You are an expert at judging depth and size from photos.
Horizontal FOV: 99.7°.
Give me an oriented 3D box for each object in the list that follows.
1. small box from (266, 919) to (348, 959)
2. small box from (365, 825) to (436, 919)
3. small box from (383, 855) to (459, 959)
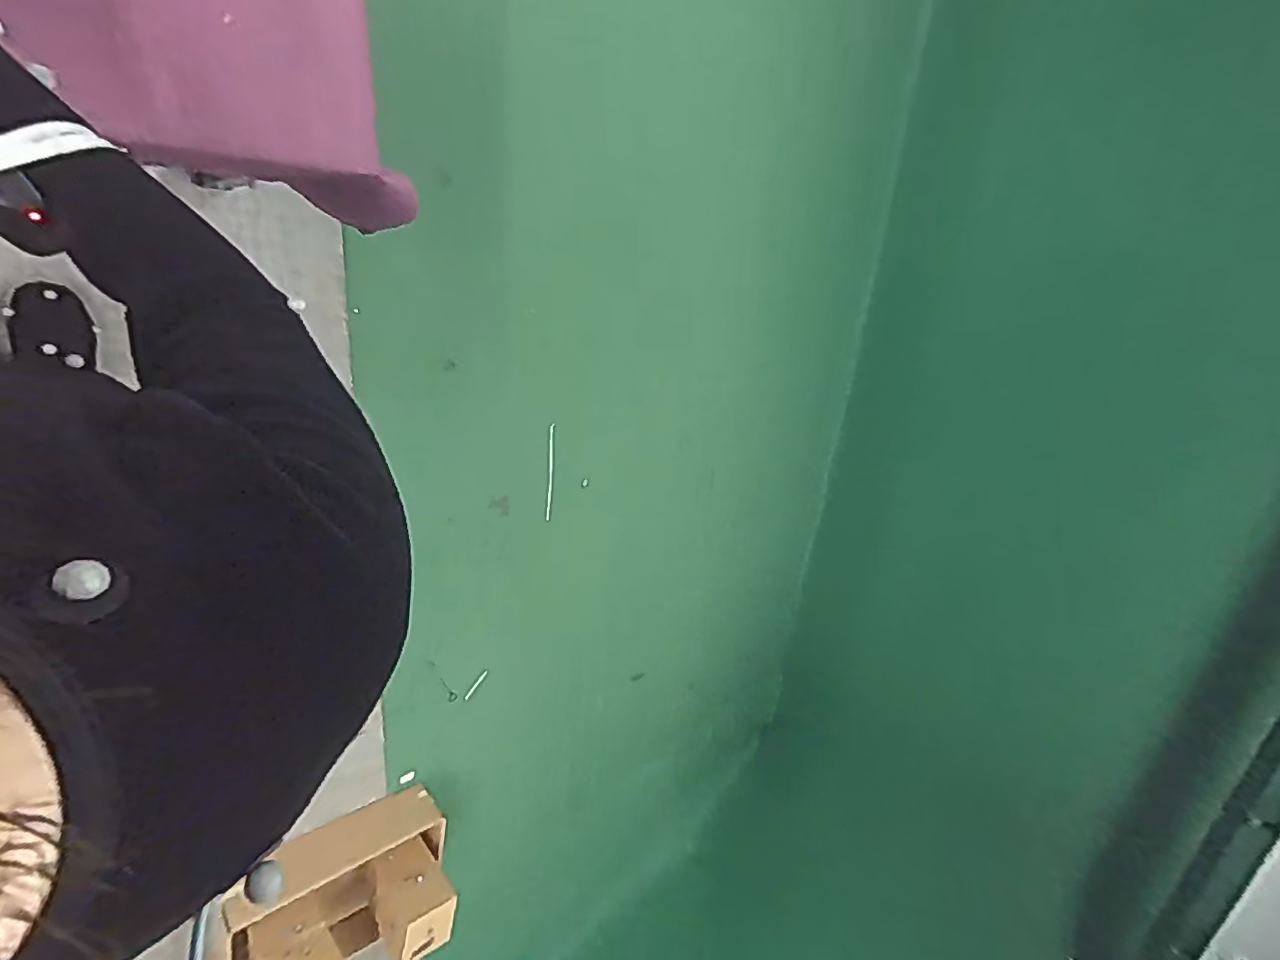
[{"bbox_3d":[-0.933,1.403,1.515,0.168,0.176,0.179,-6,110,-48],"label":"small box"},{"bbox_3d":[-0.829,1.336,1.863,0.168,0.176,0.179,-1,108,-47],"label":"small box"},{"bbox_3d":[-0.715,1.381,1.755,0.168,0.176,0.179,1,105,-48],"label":"small box"}]
